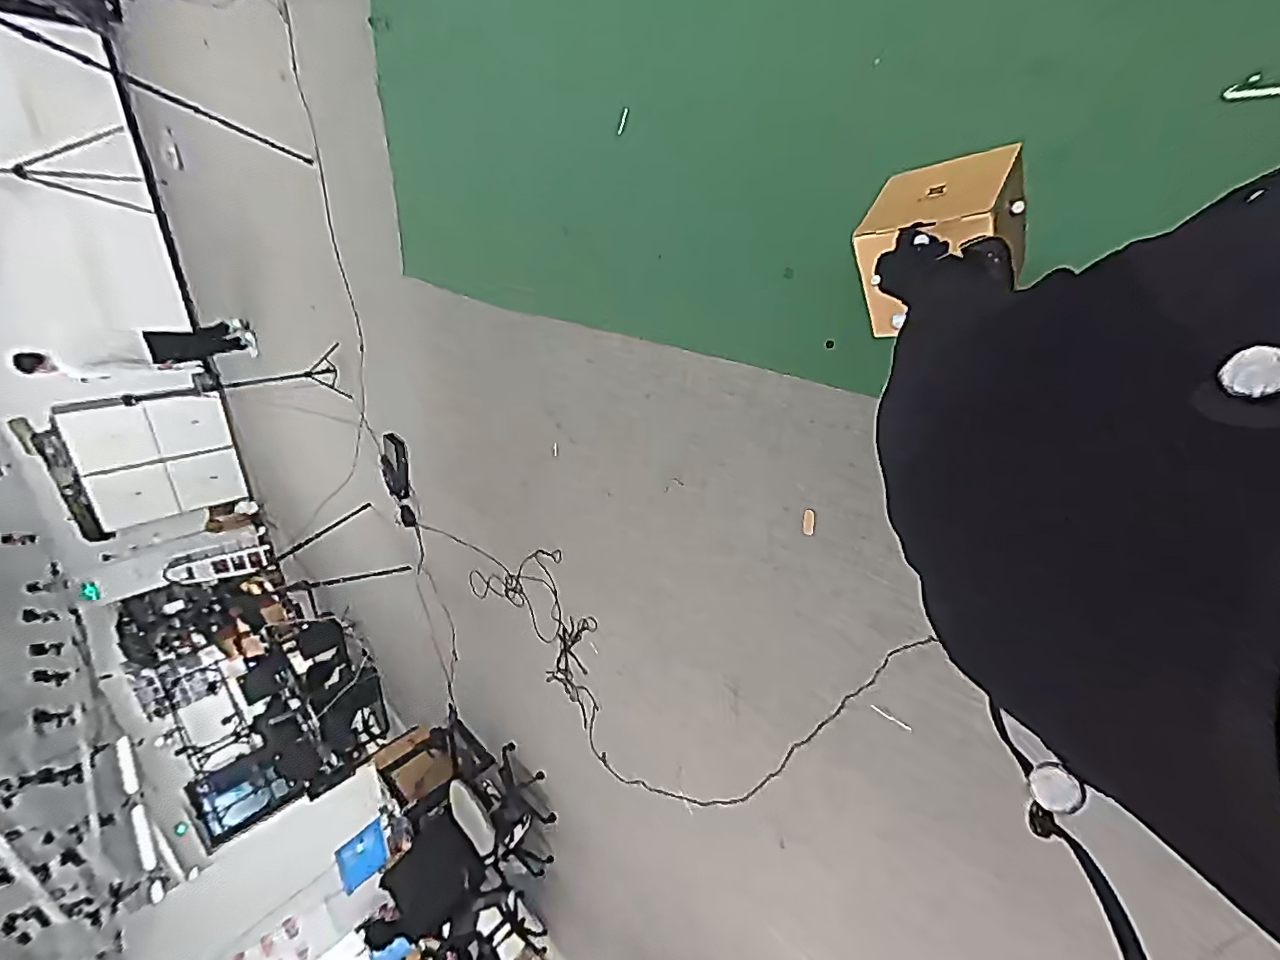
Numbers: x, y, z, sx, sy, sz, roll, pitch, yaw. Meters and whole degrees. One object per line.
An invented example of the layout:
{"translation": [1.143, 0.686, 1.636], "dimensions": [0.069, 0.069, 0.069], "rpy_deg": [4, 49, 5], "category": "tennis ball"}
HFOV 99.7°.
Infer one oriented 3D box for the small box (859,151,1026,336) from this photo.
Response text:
{"translation": [0.438, -0.330, 0.779], "dimensions": [0.168, 0.179, 0.176], "rpy_deg": [10, 144, 42], "category": "small box"}
